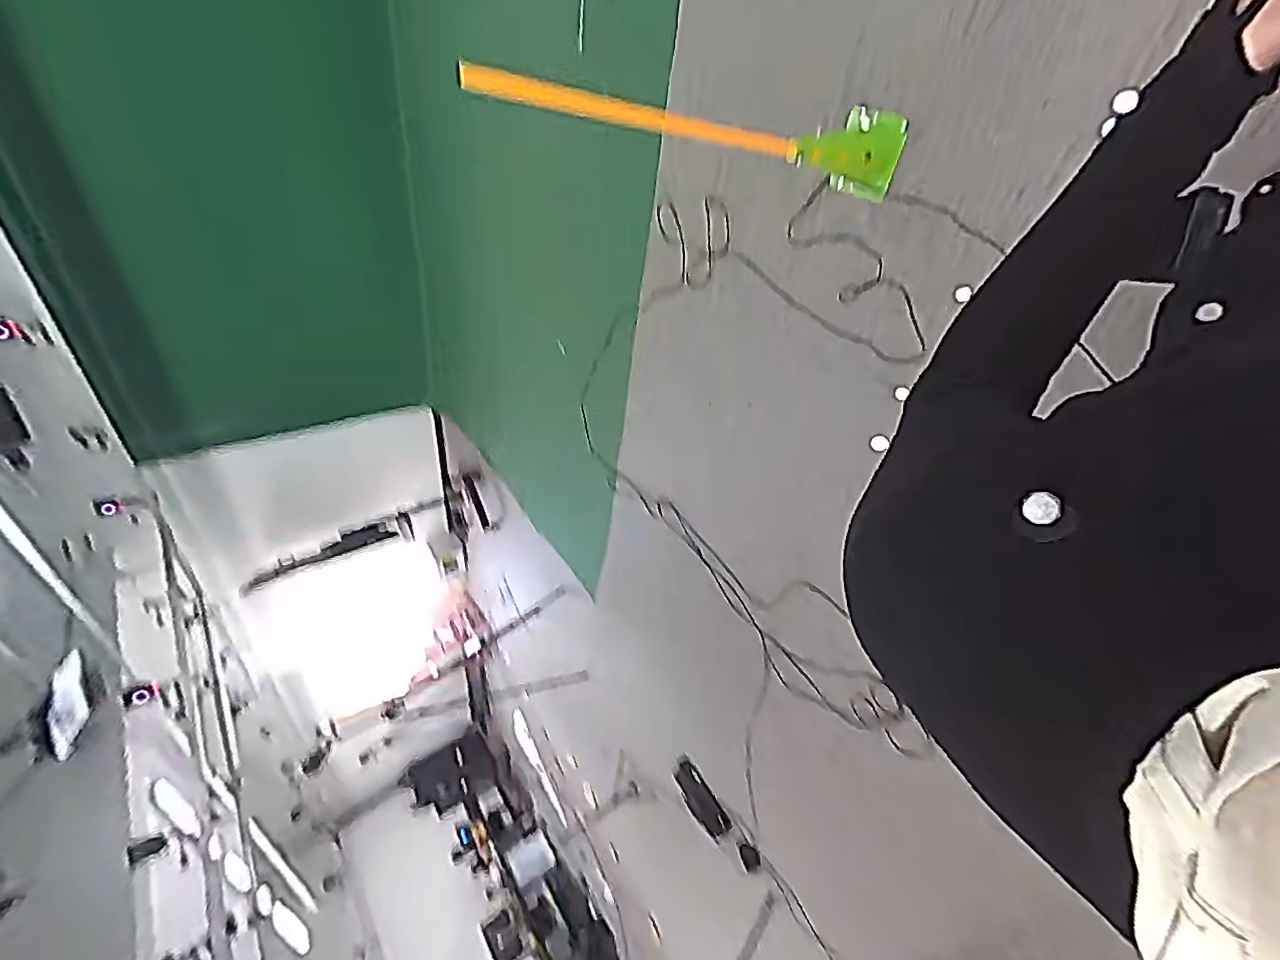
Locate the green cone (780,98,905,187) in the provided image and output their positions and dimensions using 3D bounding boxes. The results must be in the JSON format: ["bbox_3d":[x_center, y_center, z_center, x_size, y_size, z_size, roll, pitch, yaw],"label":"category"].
[{"bbox_3d":[0.514,-0.927,1.481,0.200,0.368,0.202,44,140,35],"label":"green cone"}]
